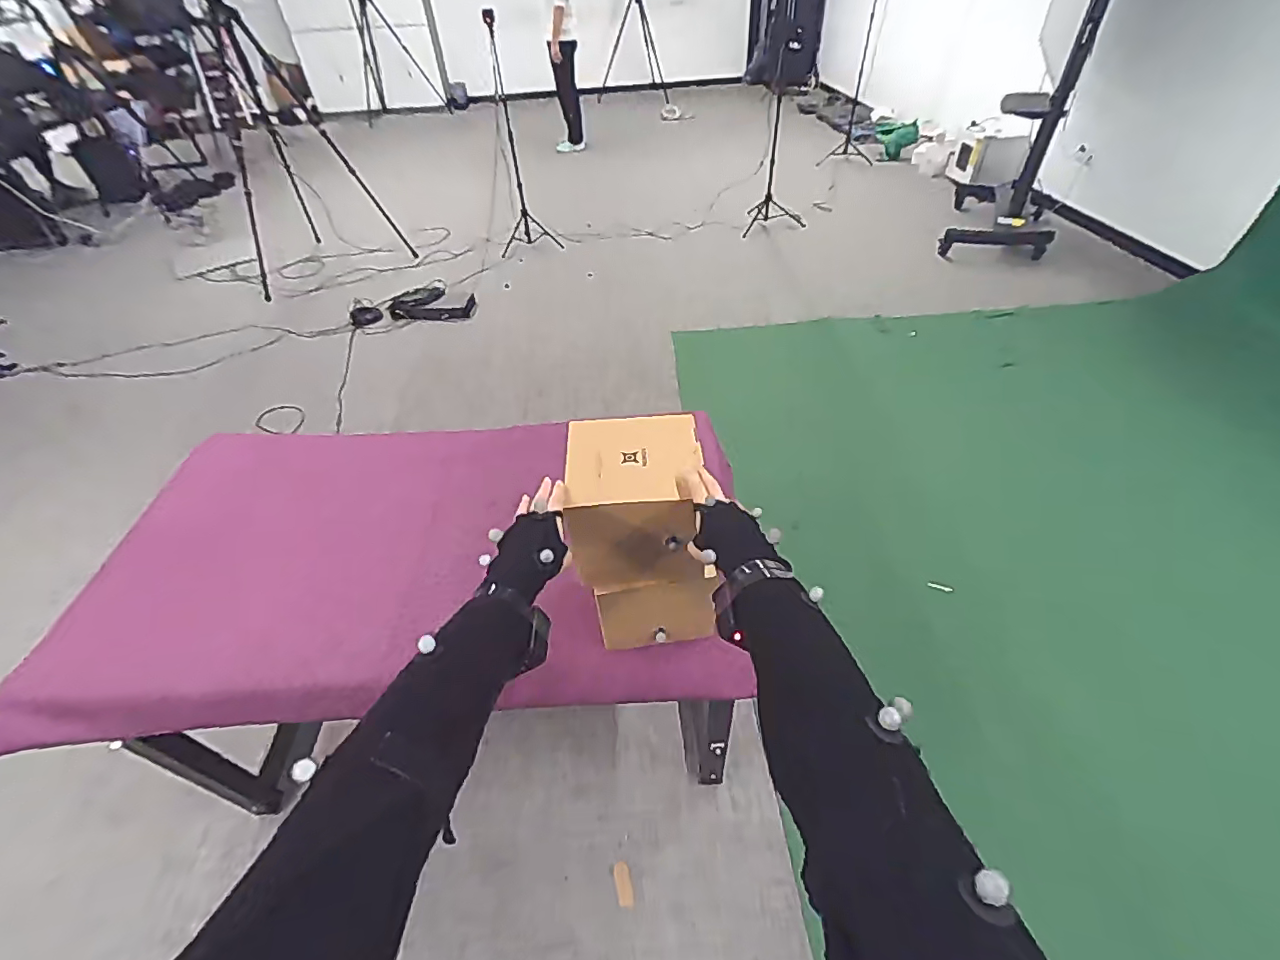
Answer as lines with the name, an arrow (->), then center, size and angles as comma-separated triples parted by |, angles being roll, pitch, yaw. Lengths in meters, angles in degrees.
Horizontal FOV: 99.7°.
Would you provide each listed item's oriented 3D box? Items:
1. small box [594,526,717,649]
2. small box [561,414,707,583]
small box -> 0.017, 0.148, 0.862 | 0.179, 0.176, 0.168 | -8, 44, -3
small box -> -0.005, 0.028, 0.753 | 0.179, 0.176, 0.168 | -4, 45, 2
